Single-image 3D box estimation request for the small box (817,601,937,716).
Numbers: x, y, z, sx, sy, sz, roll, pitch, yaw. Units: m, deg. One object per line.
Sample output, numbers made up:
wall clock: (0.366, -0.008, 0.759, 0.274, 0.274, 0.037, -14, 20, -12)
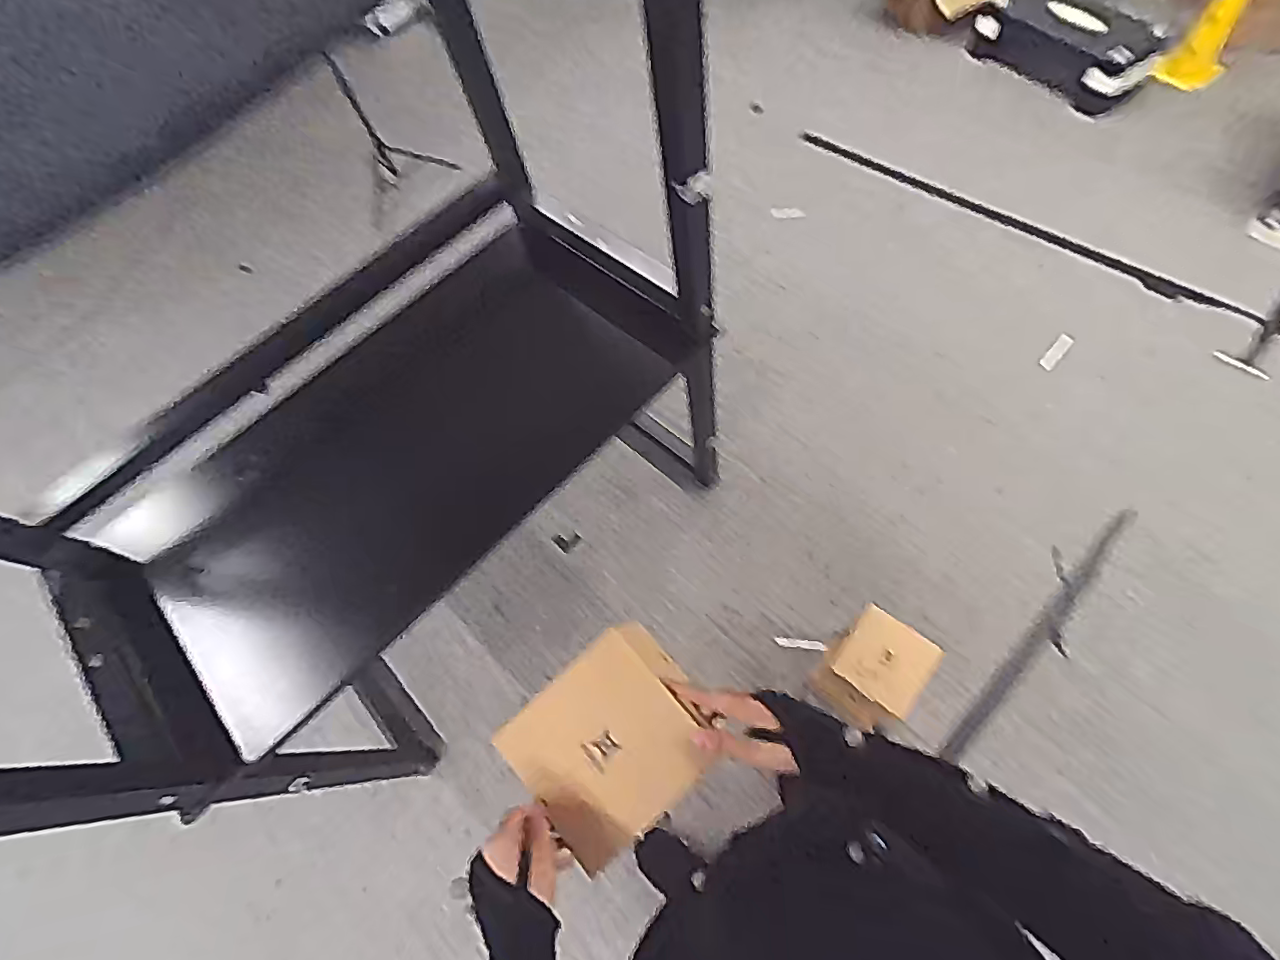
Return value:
small box: (0.517, 0.402, 1.211, 0.168, 0.176, 0.179, 35, 75, 20)
